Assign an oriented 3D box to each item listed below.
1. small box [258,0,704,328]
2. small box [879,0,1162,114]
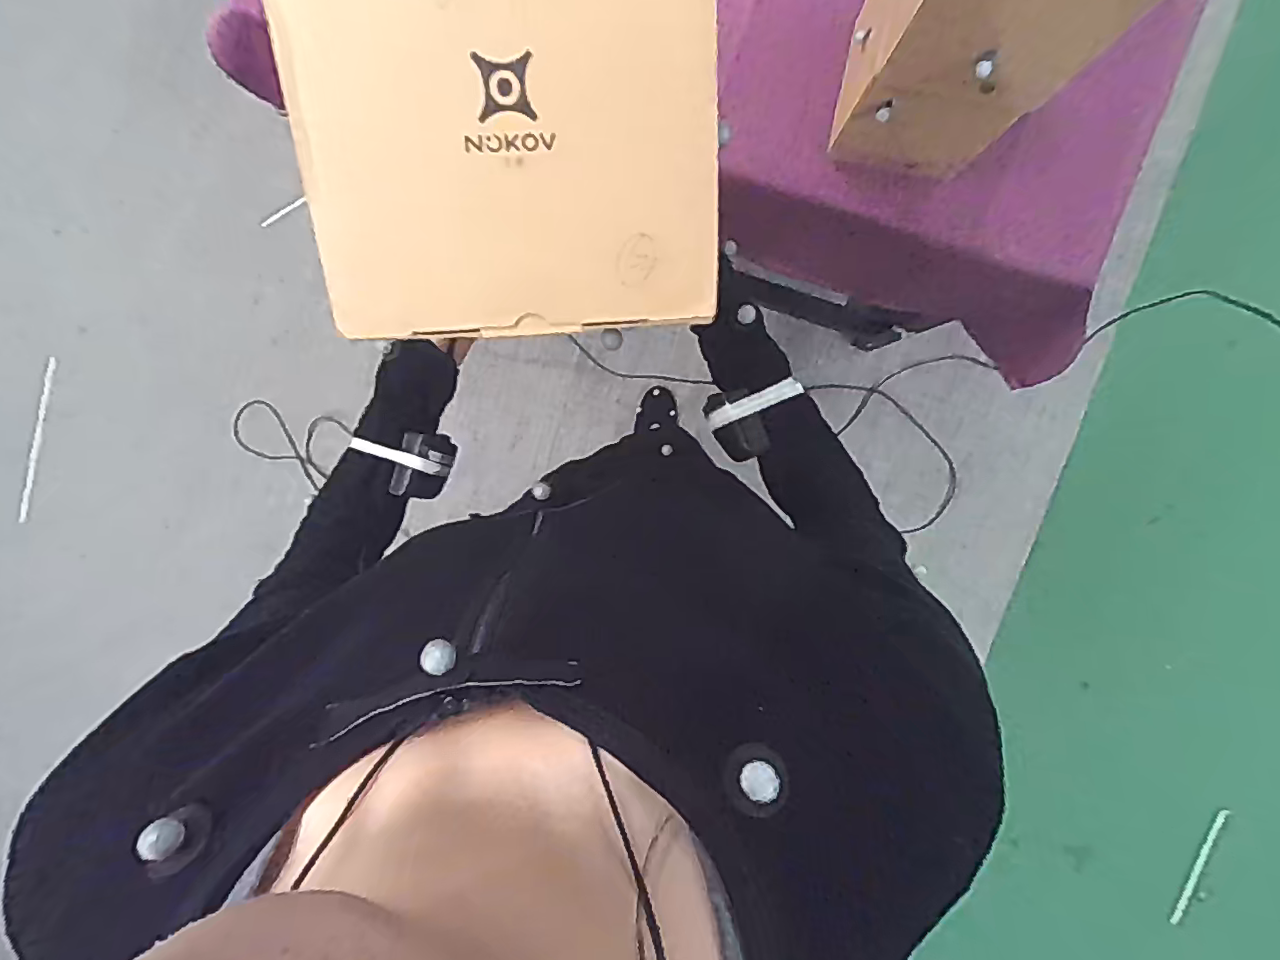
[{"bbox_3d":[-0.061,-0.178,0.284,0.168,0.176,0.179,-3,108,-4],"label":"small box"},{"bbox_3d":[0.329,-0.461,0.458,0.168,0.176,0.179,12,95,1],"label":"small box"}]
